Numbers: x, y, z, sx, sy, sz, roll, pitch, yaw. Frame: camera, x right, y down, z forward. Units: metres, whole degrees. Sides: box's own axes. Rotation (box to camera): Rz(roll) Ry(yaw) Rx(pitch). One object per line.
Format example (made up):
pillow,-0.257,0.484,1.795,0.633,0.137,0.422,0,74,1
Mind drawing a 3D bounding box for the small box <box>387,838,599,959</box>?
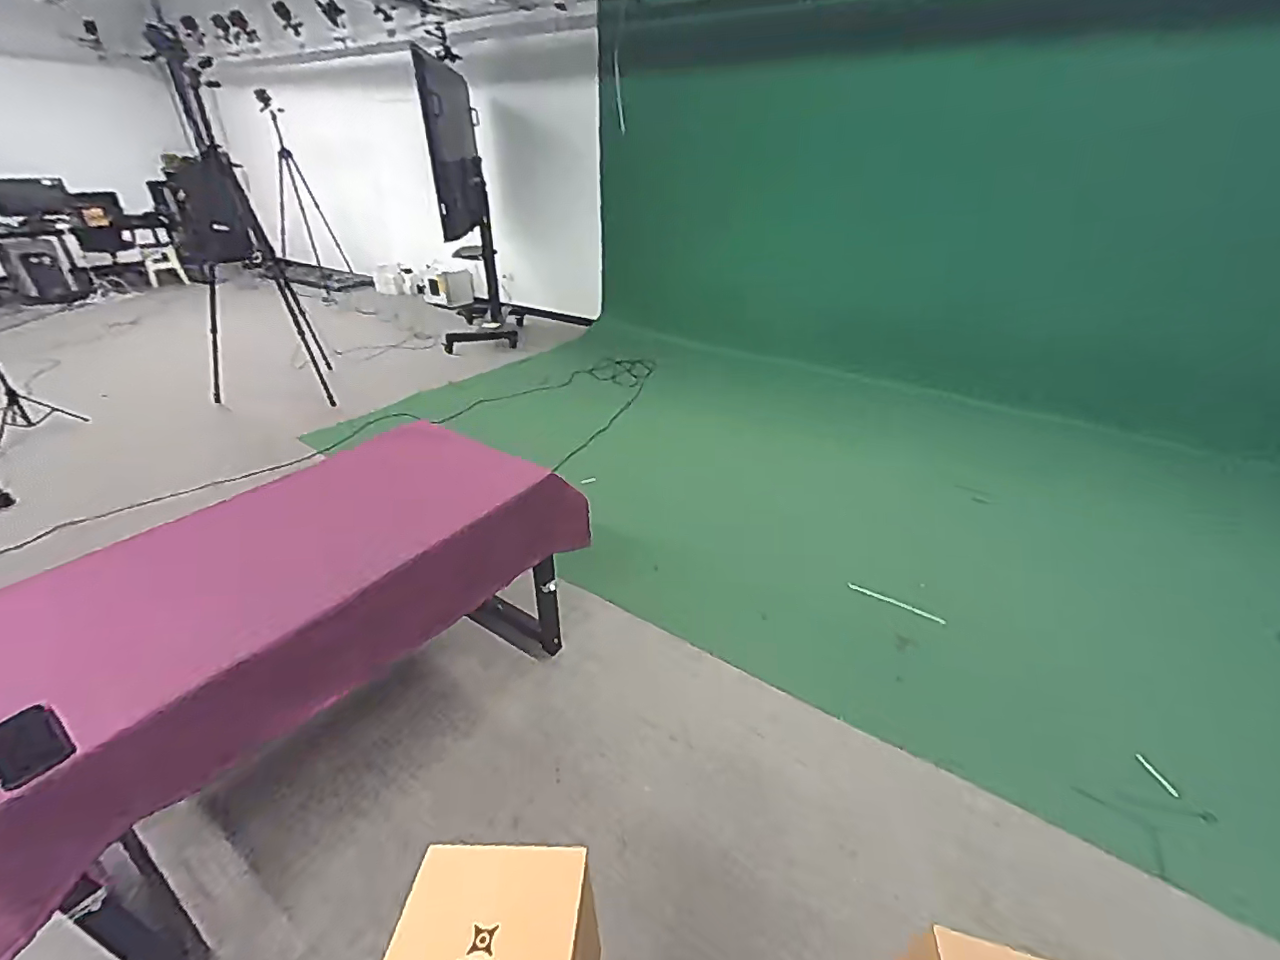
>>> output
small box,-0.132,0.477,0.505,0.168,0.176,0.179,-1,24,4
